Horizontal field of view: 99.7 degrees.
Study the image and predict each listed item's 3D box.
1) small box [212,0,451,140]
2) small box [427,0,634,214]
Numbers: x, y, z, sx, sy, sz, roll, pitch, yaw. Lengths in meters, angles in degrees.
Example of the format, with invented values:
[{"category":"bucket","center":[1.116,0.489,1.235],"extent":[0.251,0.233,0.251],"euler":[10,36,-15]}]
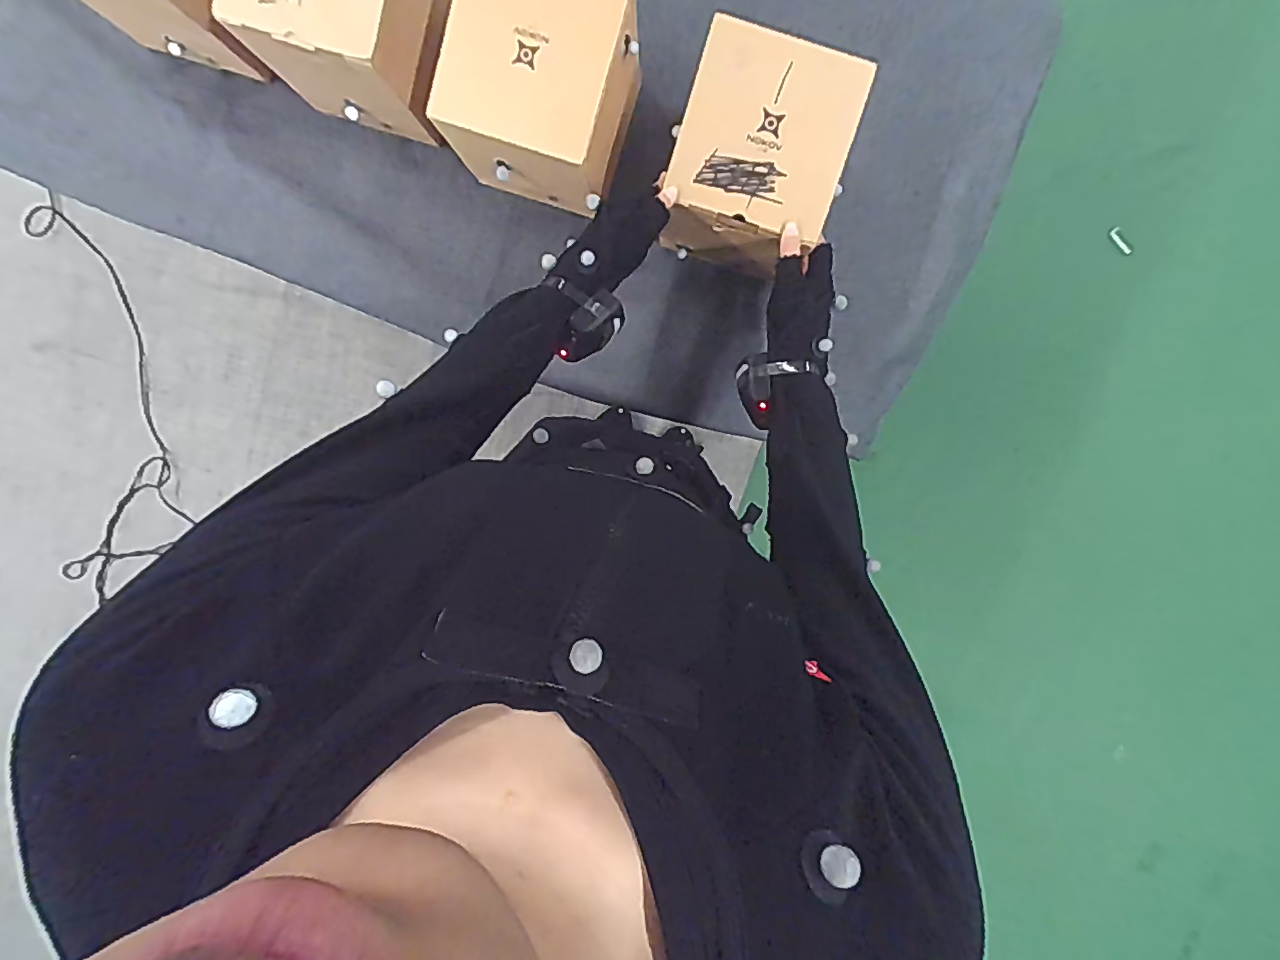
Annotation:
[{"category":"small box","center":[-0.310,-0.521,0.592],"extent":[0.168,0.176,0.179],"euler":[16,98,-1]},{"category":"small box","center":[-0.107,-0.428,0.602],"extent":[0.168,0.176,0.179],"euler":[17,97,-1]}]
